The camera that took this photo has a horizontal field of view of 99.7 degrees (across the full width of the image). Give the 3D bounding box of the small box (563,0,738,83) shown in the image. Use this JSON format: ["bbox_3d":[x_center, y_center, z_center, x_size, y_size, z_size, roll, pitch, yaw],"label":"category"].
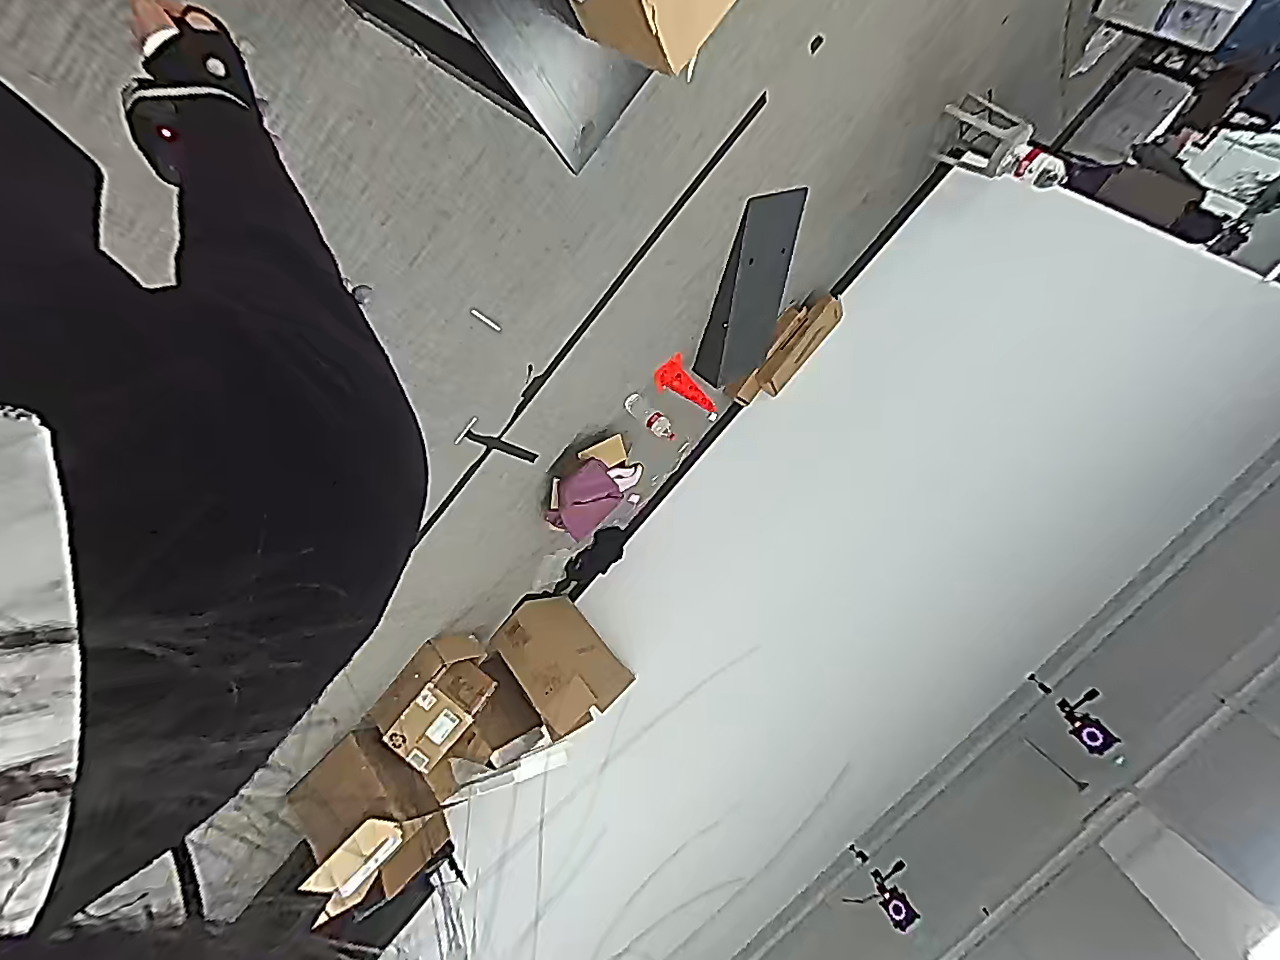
[{"bbox_3d":[0.008,-0.610,0.605,0.179,0.176,0.168,-50,156,6],"label":"small box"}]
